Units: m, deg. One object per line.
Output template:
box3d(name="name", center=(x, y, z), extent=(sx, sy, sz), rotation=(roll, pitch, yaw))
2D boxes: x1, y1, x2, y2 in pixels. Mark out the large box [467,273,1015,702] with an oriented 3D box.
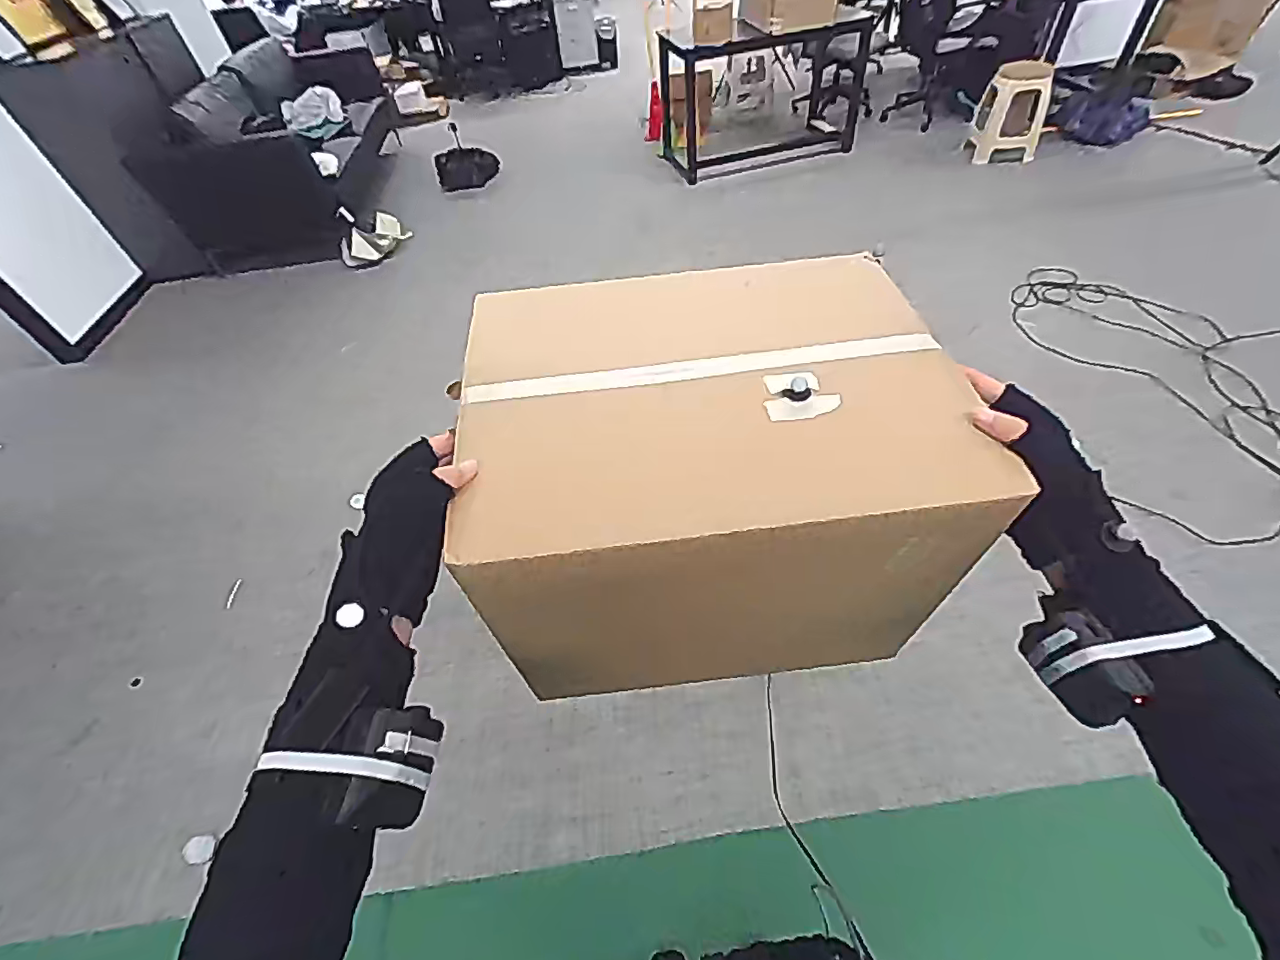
box3d(name="large box", center=(0.062, 0.014, 0.585), extent=(0.408, 0.320, 0.320), rotation=(-7, 52, -2))
